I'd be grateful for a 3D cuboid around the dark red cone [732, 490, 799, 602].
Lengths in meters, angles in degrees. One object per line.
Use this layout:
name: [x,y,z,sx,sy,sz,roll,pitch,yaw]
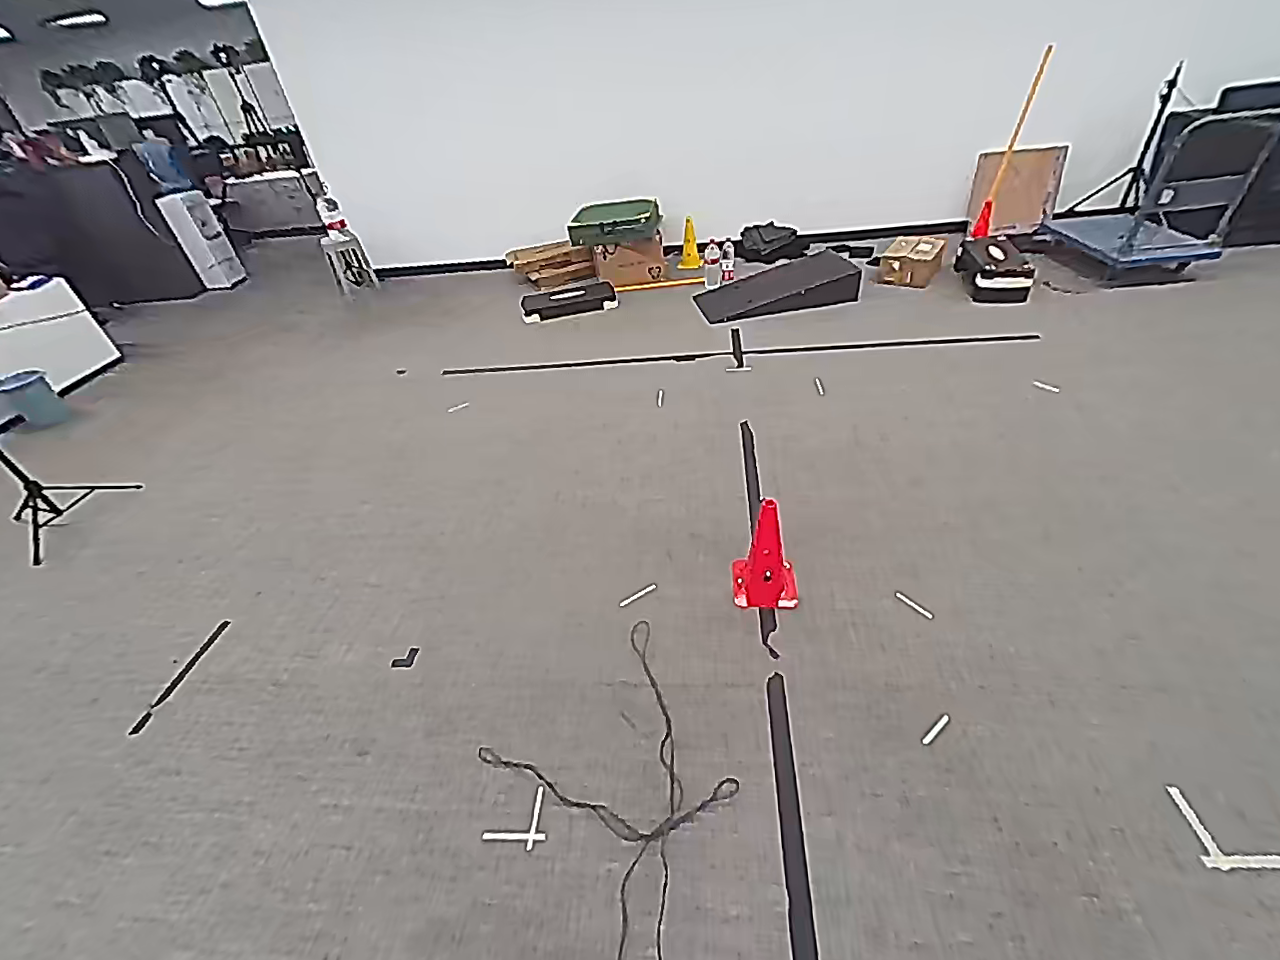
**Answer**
dark red cone: [0.385,0.187,1.656,0.201,0.394,0.202,-3,39,7]
